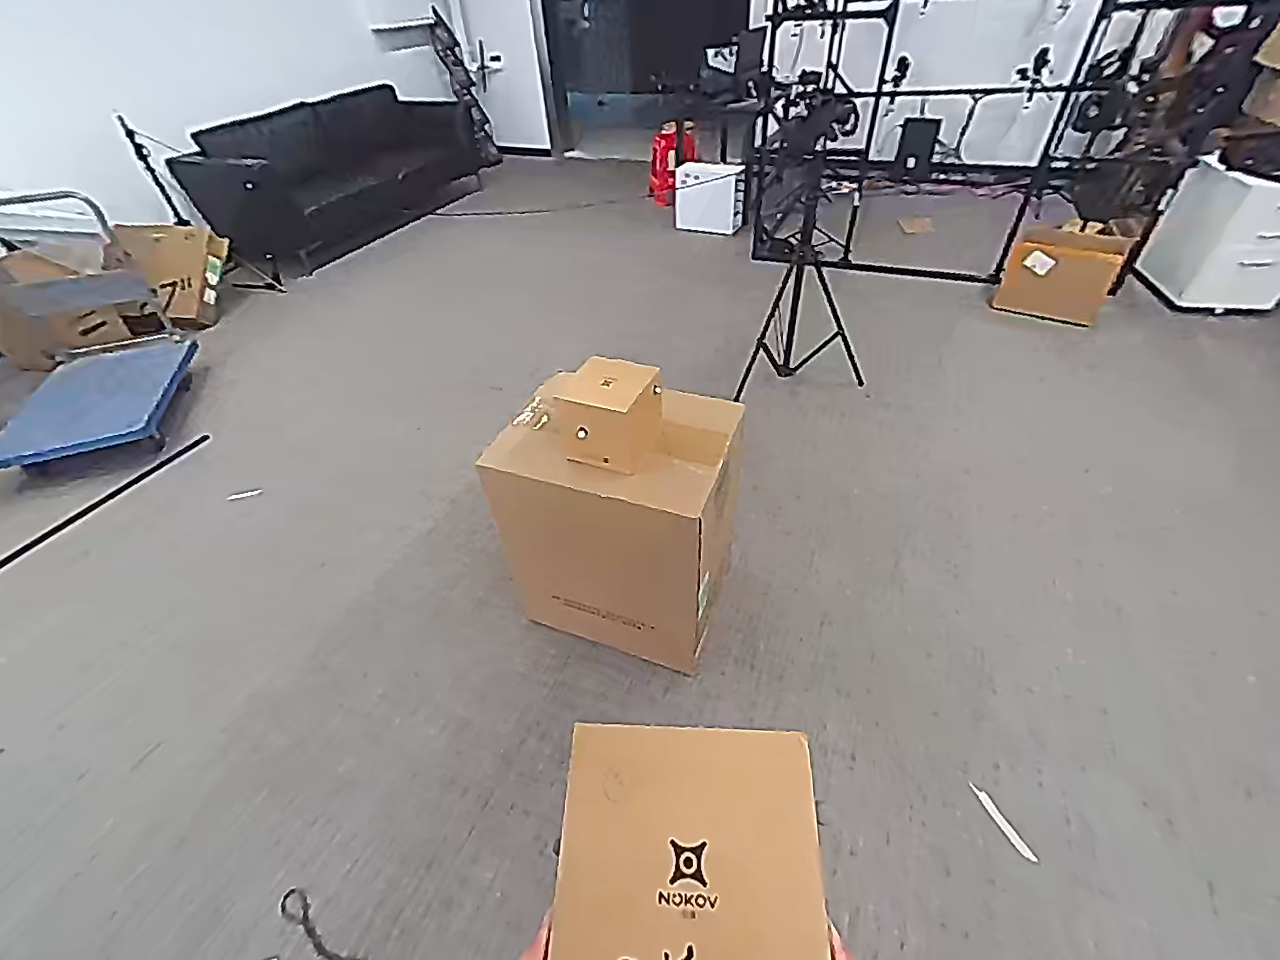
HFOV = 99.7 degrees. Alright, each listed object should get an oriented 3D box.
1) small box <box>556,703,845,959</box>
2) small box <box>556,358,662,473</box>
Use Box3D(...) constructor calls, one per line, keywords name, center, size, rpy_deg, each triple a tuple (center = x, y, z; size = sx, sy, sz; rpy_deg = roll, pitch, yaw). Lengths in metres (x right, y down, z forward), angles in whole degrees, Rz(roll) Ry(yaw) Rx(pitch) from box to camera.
Box3D(name="small box", center=(0.045, 0.278, 0.398), size=(0.168, 0.176, 0.179), rpy_deg=(-1, 56, 8))
Box3D(name="small box", center=(-0.056, -0.138, 1.163), size=(0.168, 0.176, 0.179), rpy_deg=(14, 44, 20))
